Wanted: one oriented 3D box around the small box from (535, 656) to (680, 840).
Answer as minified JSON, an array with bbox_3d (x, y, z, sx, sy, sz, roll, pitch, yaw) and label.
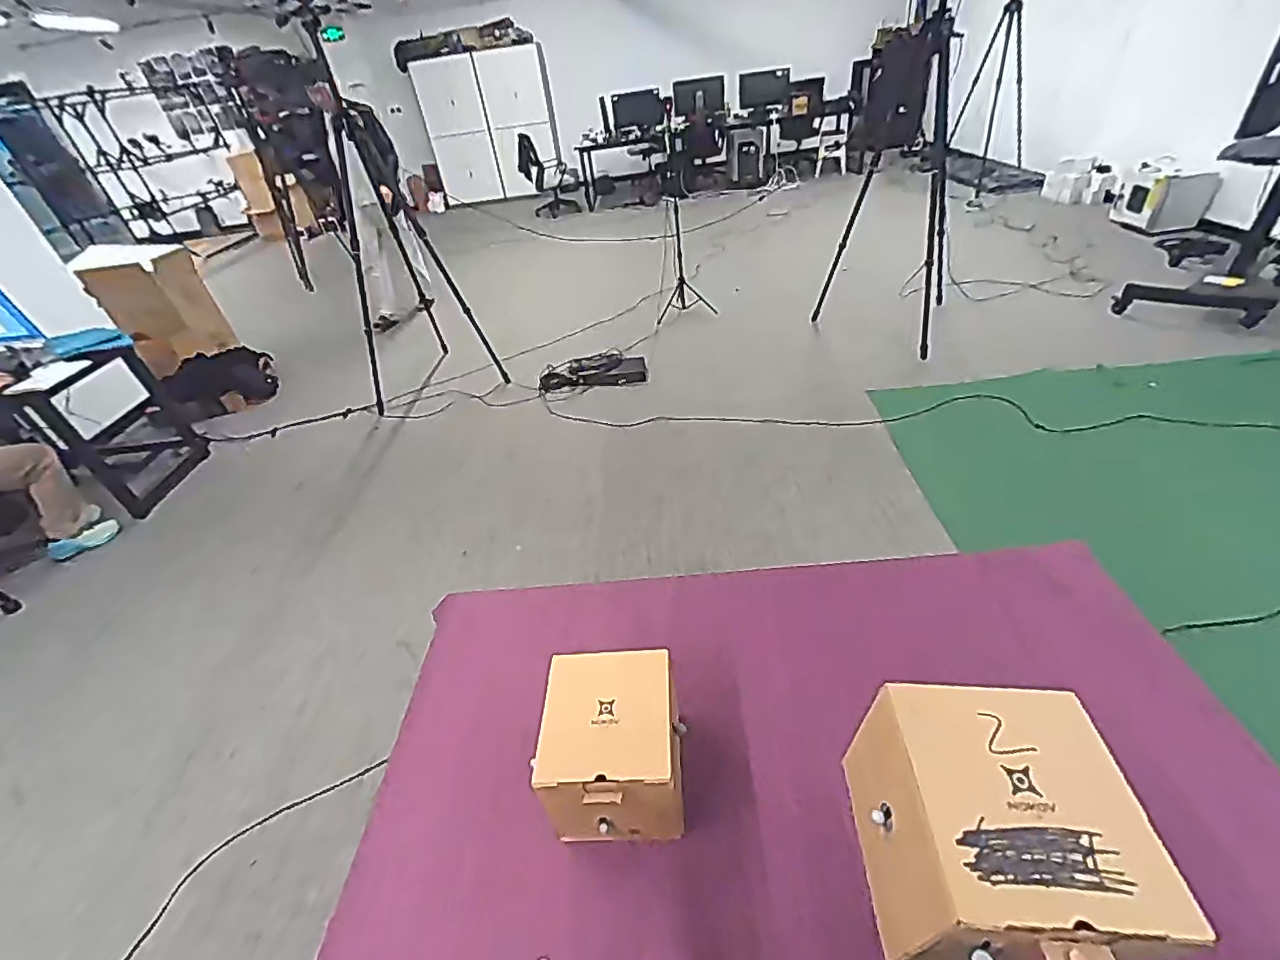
[{"bbox_3d":[-0.034,0.369,0.749,0.168,0.176,0.179,-5,38,5],"label":"small box"}]
